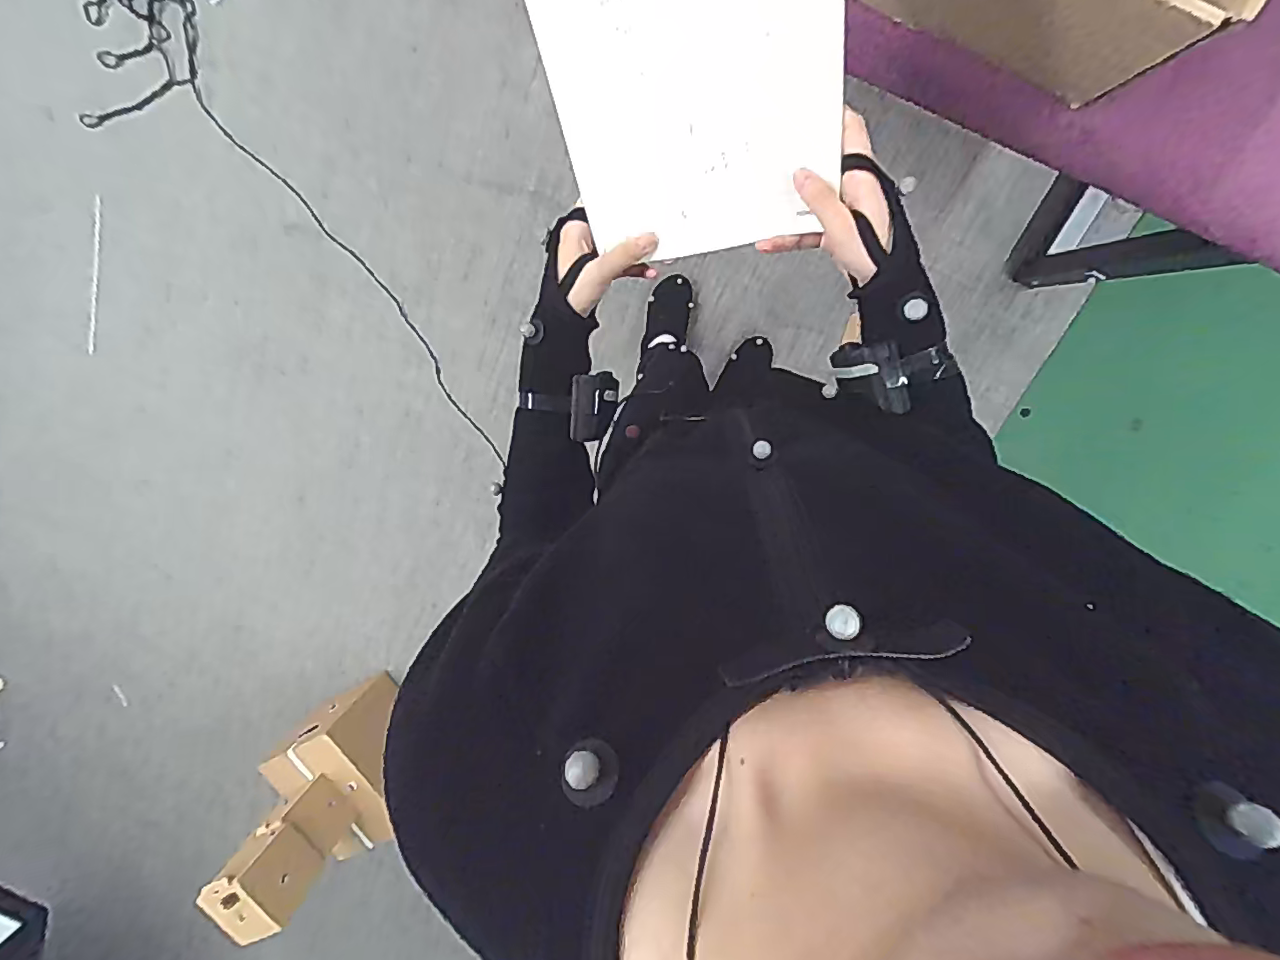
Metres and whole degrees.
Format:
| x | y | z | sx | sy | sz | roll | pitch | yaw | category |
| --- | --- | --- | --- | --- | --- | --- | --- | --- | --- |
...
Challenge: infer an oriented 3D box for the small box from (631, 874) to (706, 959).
| x | y | z | sx | sy | sz | roll | pitch | yaw | category |
| --- | --- | --- | --- | --- | --- | --- | --- | --- | --- |
| 0.077 | 1.232 | 1.477 | 0.168 | 0.176 | 0.179 | 16 | 107 | 3 | small box |

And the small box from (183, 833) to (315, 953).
| x | y | z | sx | sy | sz | roll | pitch | yaw | category |
| --- | --- | --- | --- | --- | --- | --- | --- | --- | --- |
| -0.996 | 1.049 | 1.390 | 0.168 | 0.176 | 0.179 | -30 | 101 | 15 | small box |

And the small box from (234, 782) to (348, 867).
| x | y | z | sx | sy | sz | roll | pitch | yaw | category |
| --- | --- | --- | --- | --- | --- | --- | --- | --- | --- |
| -0.992 | 1.004 | 1.550 | 0.168 | 0.176 | 0.179 | -34 | 98 | 16 | small box |
